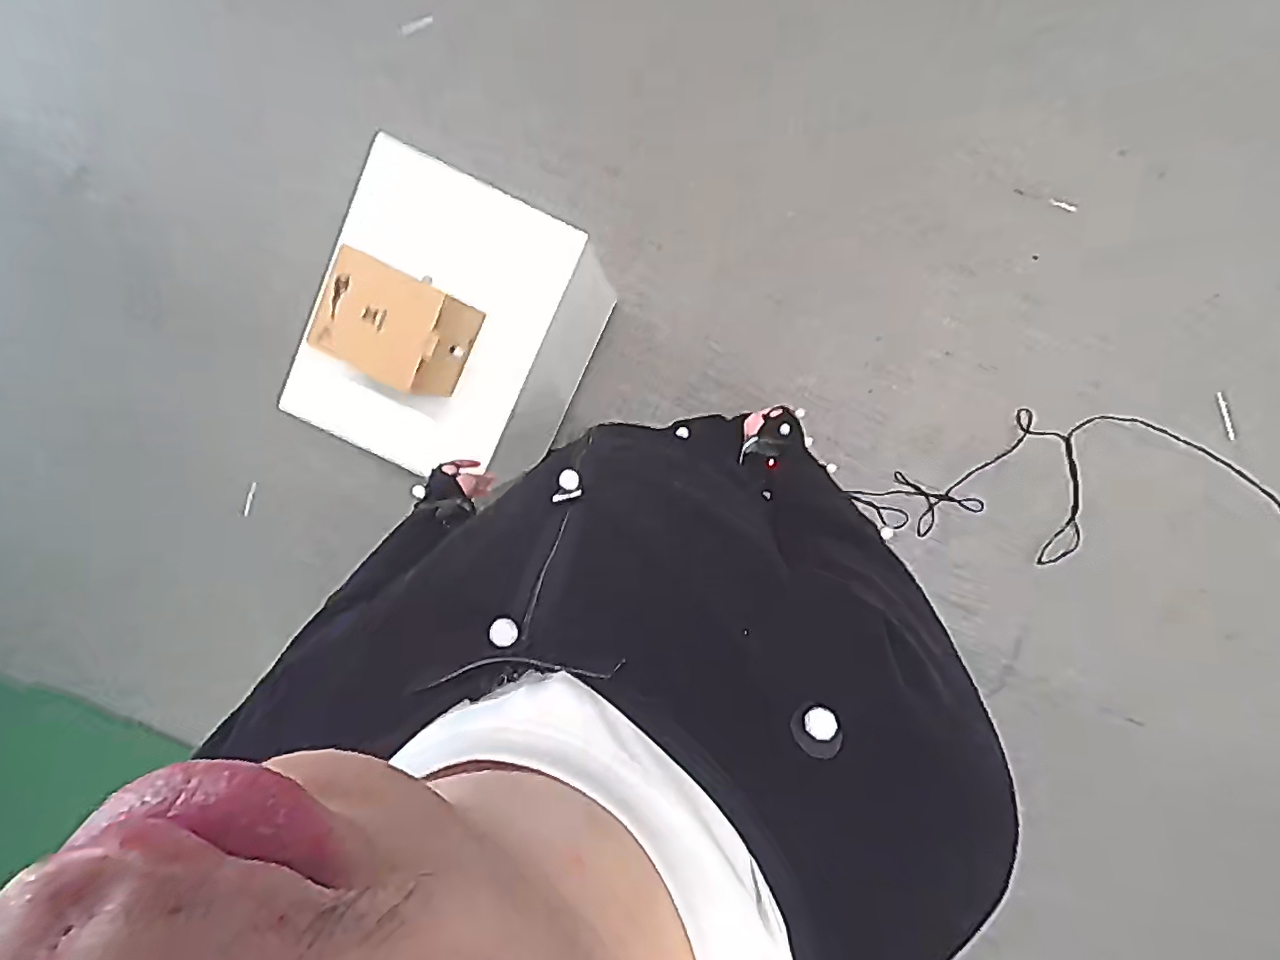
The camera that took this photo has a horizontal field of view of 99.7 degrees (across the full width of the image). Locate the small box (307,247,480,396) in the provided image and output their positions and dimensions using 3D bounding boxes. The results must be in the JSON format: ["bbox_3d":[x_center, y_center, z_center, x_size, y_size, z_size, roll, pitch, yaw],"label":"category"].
[{"bbox_3d":[-0.386,-0.247,0.878,0.179,0.176,0.168,23,99,0],"label":"small box"}]
